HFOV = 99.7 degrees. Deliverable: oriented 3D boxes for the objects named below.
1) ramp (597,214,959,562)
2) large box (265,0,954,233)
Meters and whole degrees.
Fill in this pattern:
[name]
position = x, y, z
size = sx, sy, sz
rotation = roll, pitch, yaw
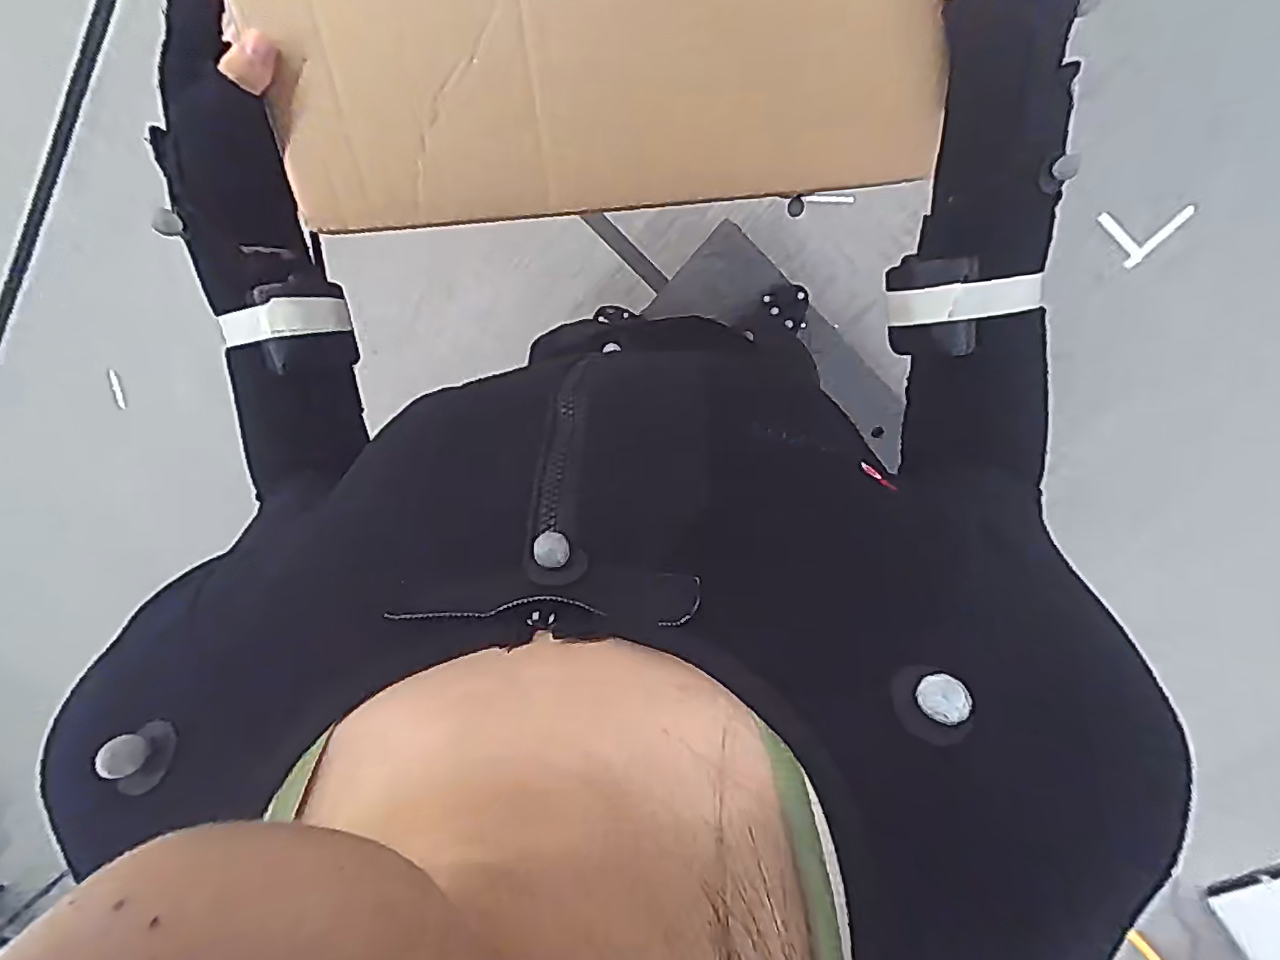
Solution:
[ramp]
position = 0.413, -0.185, 1.509
size = 0.991, 0.206, 0.509
rotation = 40, 110, -8
[large box]
position = -0.016, -0.389, 0.420
size = 0.408, 0.320, 0.320
rotation = -2, 118, 5
